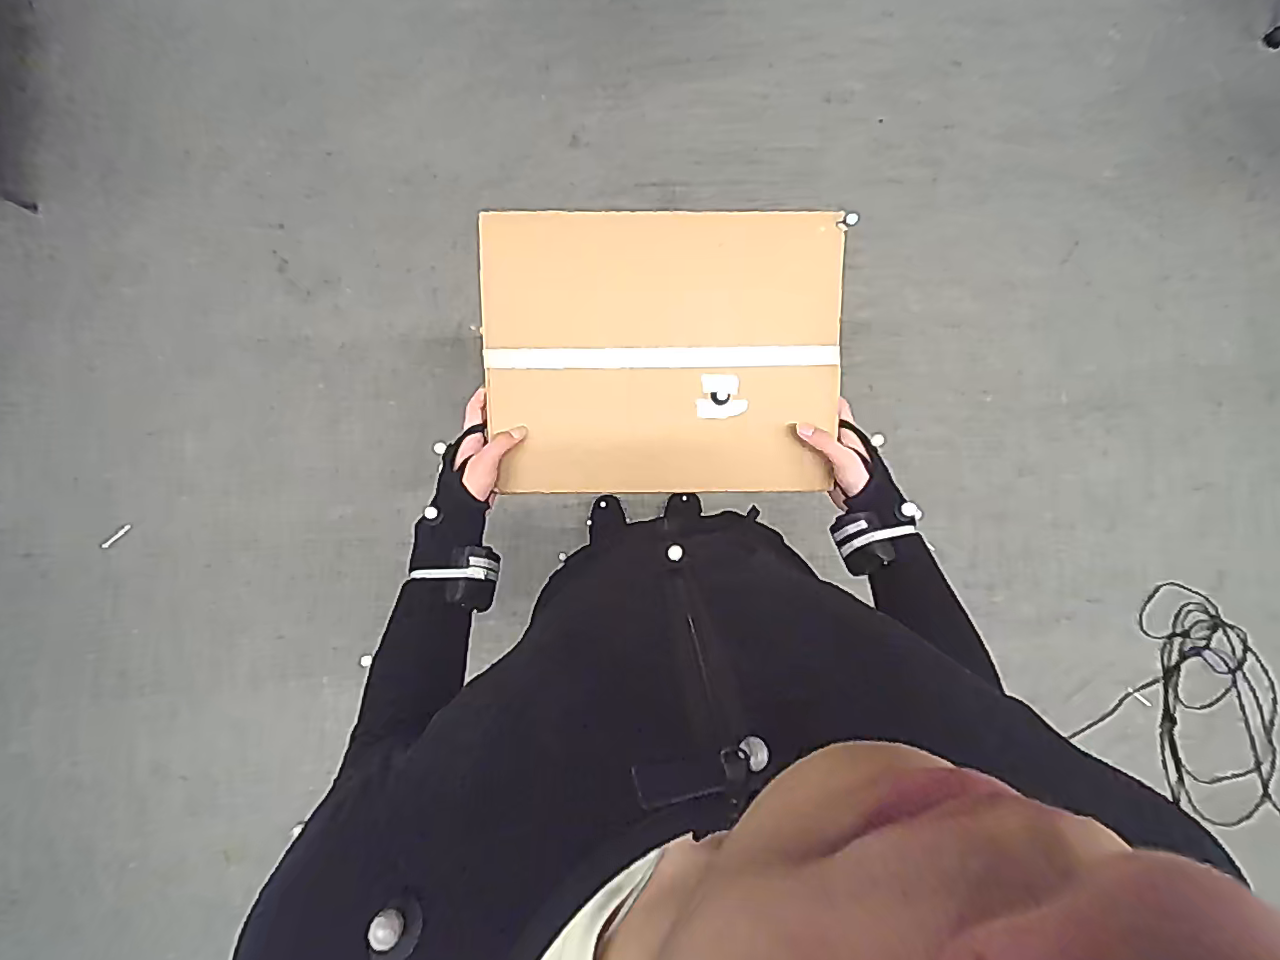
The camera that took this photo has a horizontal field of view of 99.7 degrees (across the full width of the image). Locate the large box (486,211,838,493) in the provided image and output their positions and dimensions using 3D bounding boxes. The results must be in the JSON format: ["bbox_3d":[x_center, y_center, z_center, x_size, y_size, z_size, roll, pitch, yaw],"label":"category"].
[{"bbox_3d":[0.025,-0.162,0.771,0.408,0.320,0.320,-1,98,-1],"label":"large box"}]
